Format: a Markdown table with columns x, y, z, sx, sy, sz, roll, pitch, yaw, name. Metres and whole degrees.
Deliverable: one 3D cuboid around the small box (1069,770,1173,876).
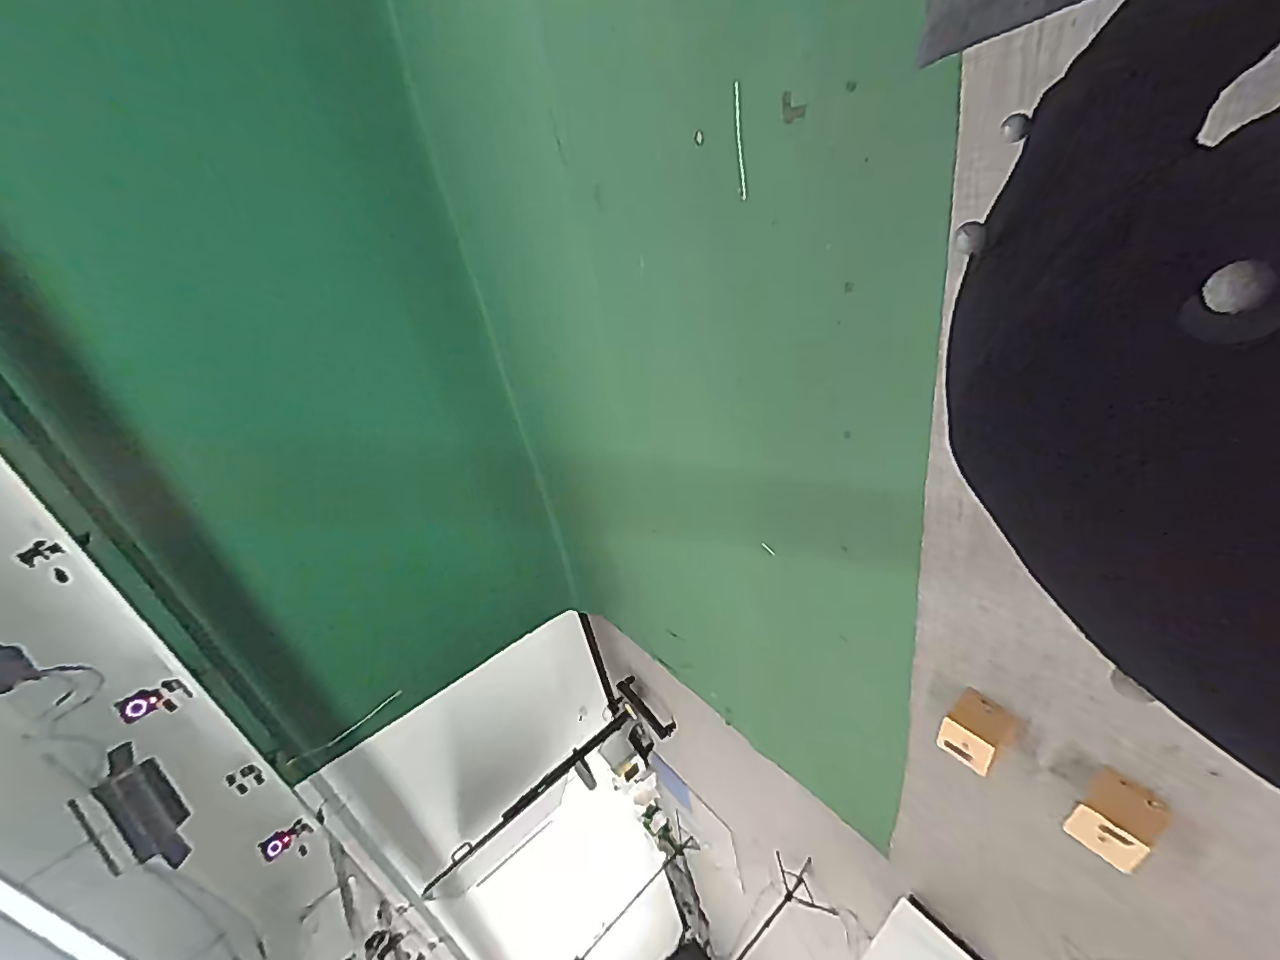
| x | y | z | sx | sy | sz | roll | pitch | yaw | name |
| --- | --- | --- | --- | --- | --- | --- | --- | --- | --- |
| 1.420 | 1.004 | 1.595 | 0.168 | 0.176 | 0.179 | 33 | 142 | 43 | small box |
